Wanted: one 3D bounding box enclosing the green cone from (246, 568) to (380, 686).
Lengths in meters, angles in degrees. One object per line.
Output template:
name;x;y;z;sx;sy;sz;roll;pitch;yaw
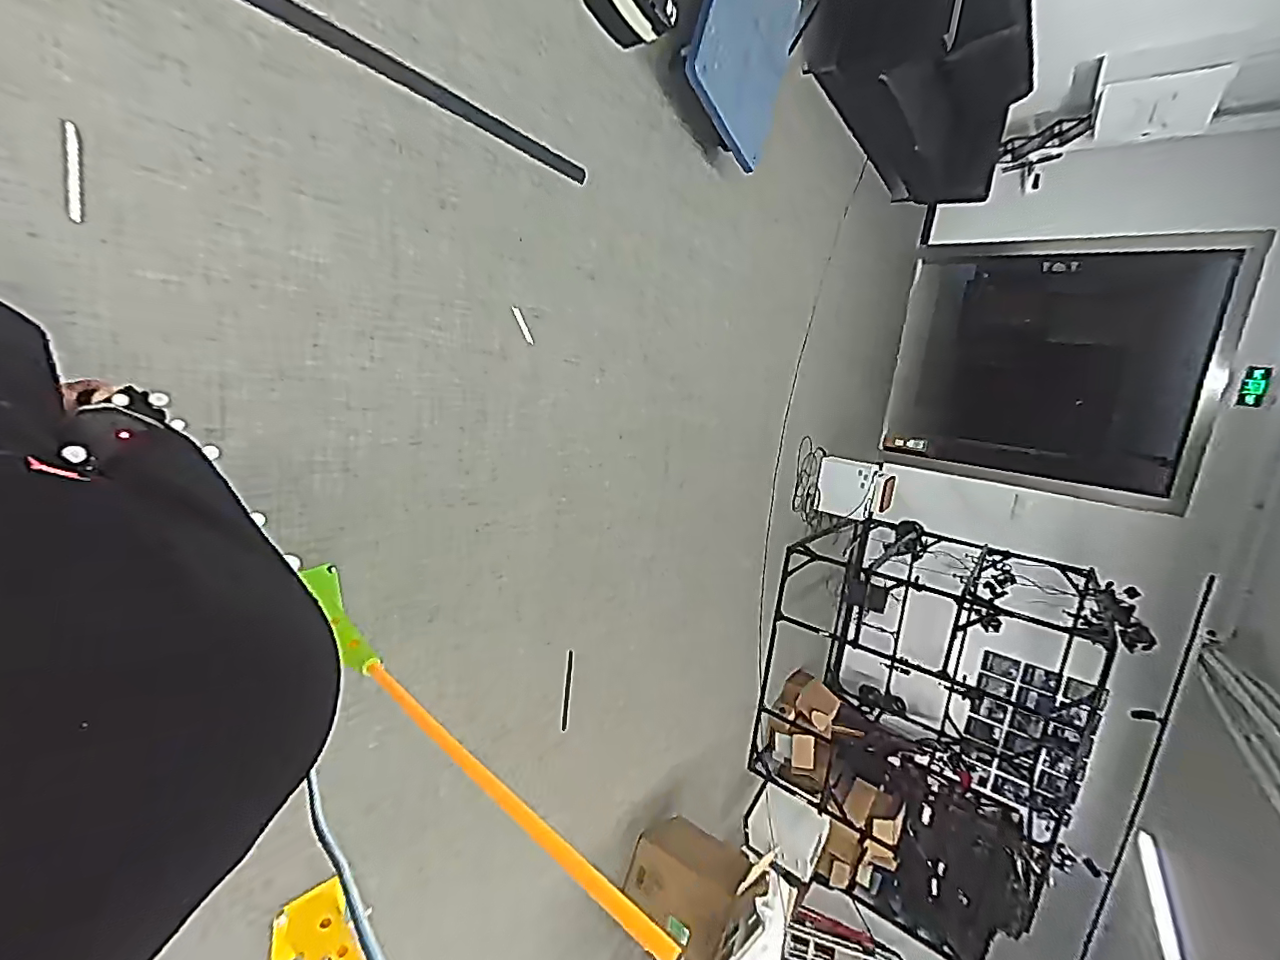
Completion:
green cone;-0.719;0.376;1.249;0.200;0.368;0.202;-22;121;-49
